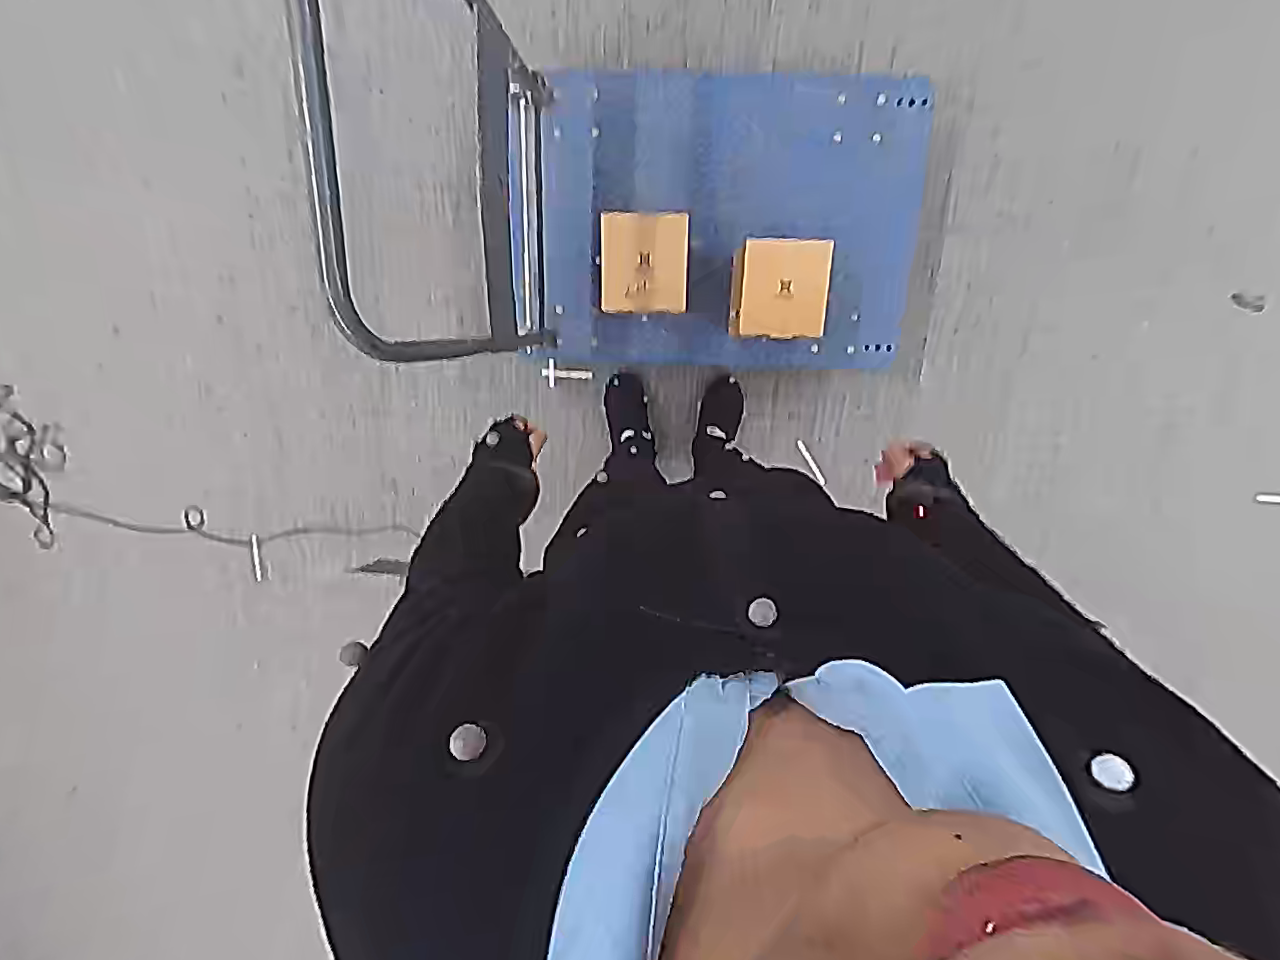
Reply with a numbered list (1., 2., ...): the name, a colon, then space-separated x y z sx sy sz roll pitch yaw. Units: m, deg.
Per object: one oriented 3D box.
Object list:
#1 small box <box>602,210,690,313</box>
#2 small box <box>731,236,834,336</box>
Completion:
1. small box: 0.012 -0.437 1.102 0.168 0.176 0.179 2 106 2
2. small box: 0.281 -0.389 1.106 0.168 0.176 0.179 2 106 2
